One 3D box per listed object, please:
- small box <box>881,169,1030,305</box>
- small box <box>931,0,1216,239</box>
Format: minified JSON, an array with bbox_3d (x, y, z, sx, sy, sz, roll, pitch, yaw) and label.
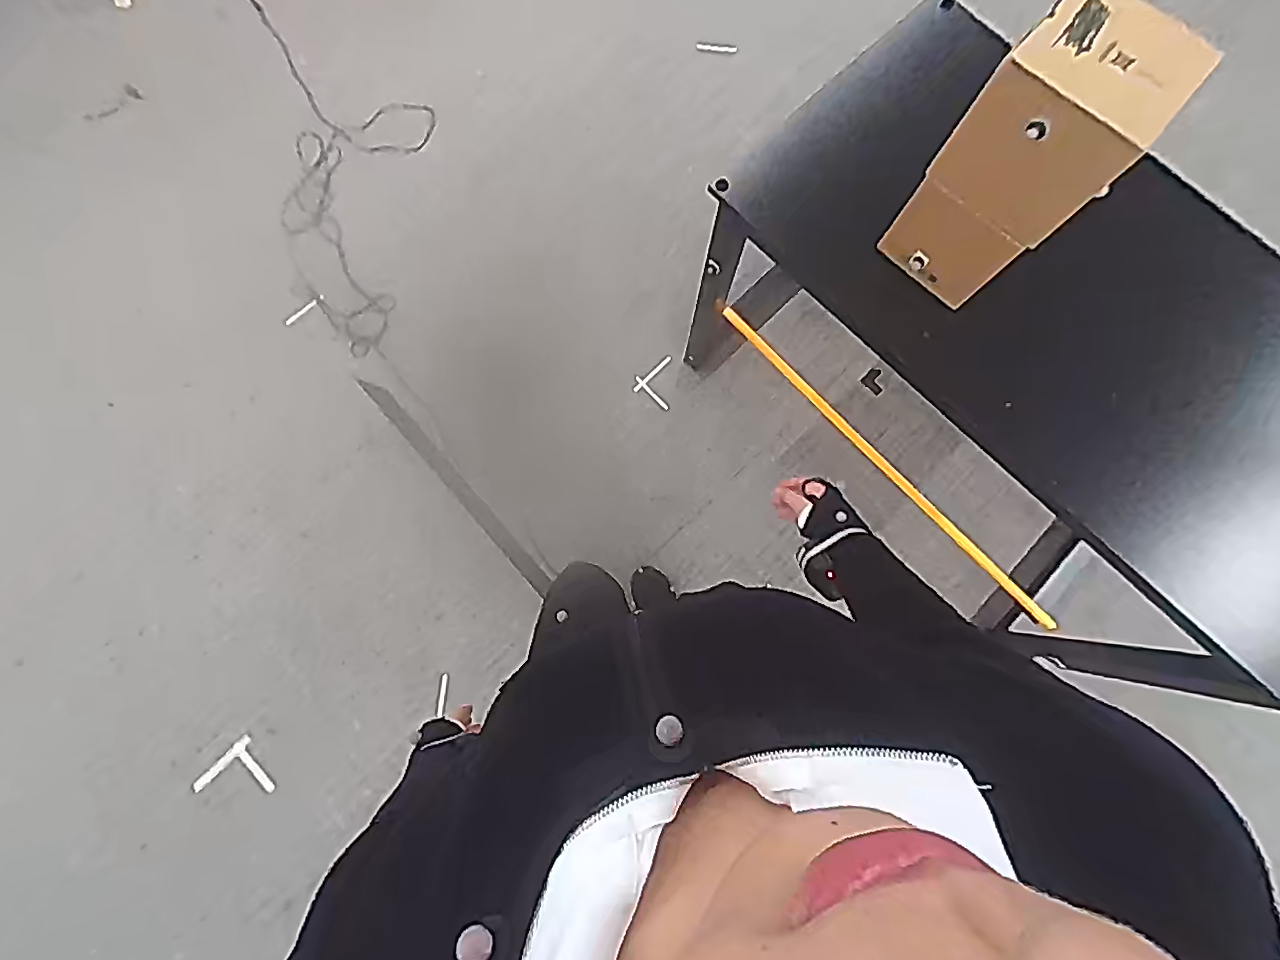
[{"bbox_3d":[0.505,-0.408,0.821,0.168,0.176,0.179,41,82,8],"label":"small box"},{"bbox_3d":[0.503,-0.438,0.659,0.179,0.176,0.168,41,81,7],"label":"small box"}]
